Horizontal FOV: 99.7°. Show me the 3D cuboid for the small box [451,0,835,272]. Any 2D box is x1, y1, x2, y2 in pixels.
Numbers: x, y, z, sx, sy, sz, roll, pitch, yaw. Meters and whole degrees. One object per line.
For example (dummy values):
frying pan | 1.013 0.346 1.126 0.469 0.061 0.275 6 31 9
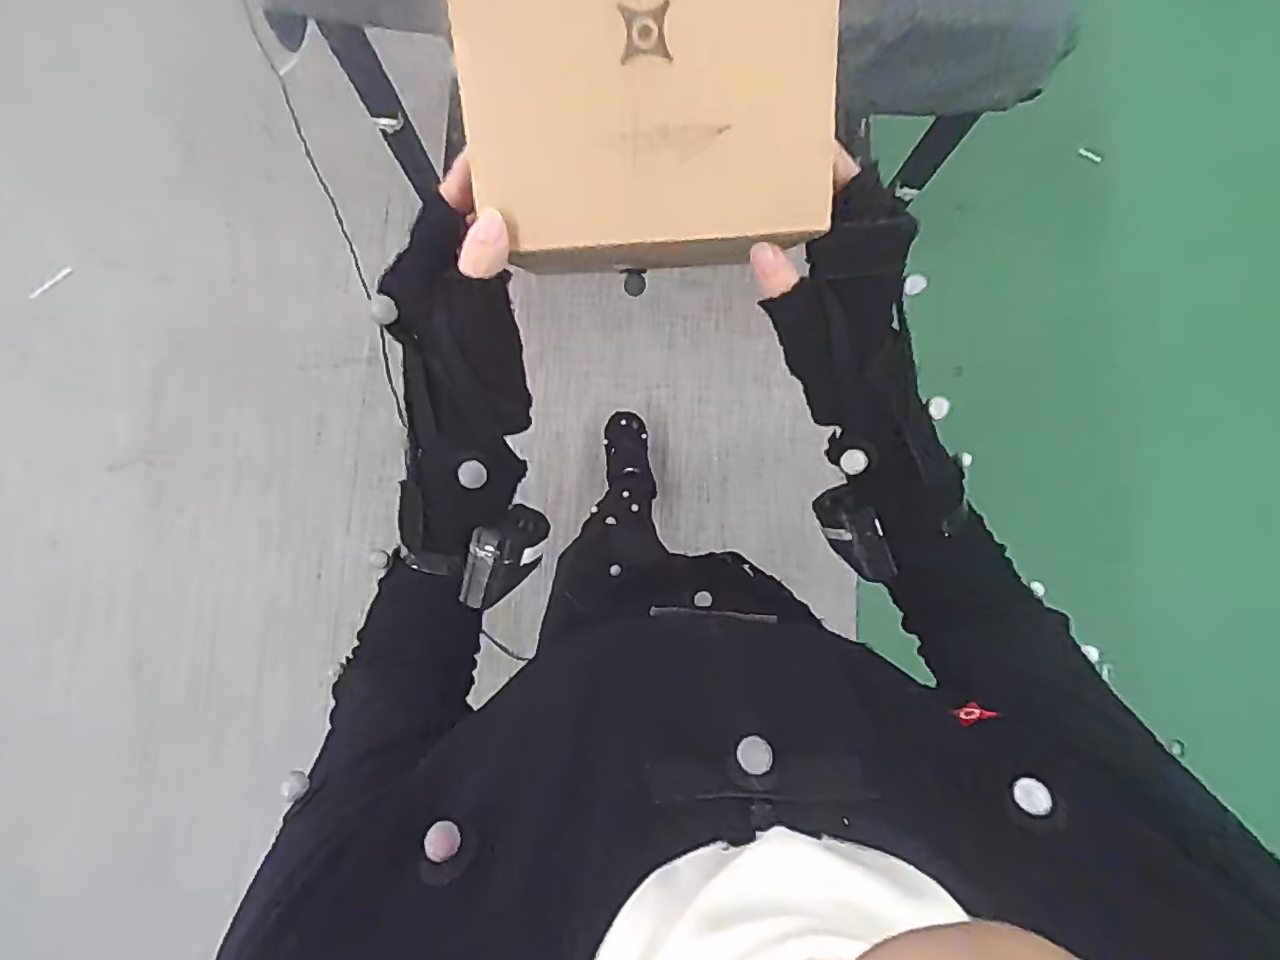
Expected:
small box | 0.002 -0.221 0.307 0.168 0.176 0.179 -3 108 2
